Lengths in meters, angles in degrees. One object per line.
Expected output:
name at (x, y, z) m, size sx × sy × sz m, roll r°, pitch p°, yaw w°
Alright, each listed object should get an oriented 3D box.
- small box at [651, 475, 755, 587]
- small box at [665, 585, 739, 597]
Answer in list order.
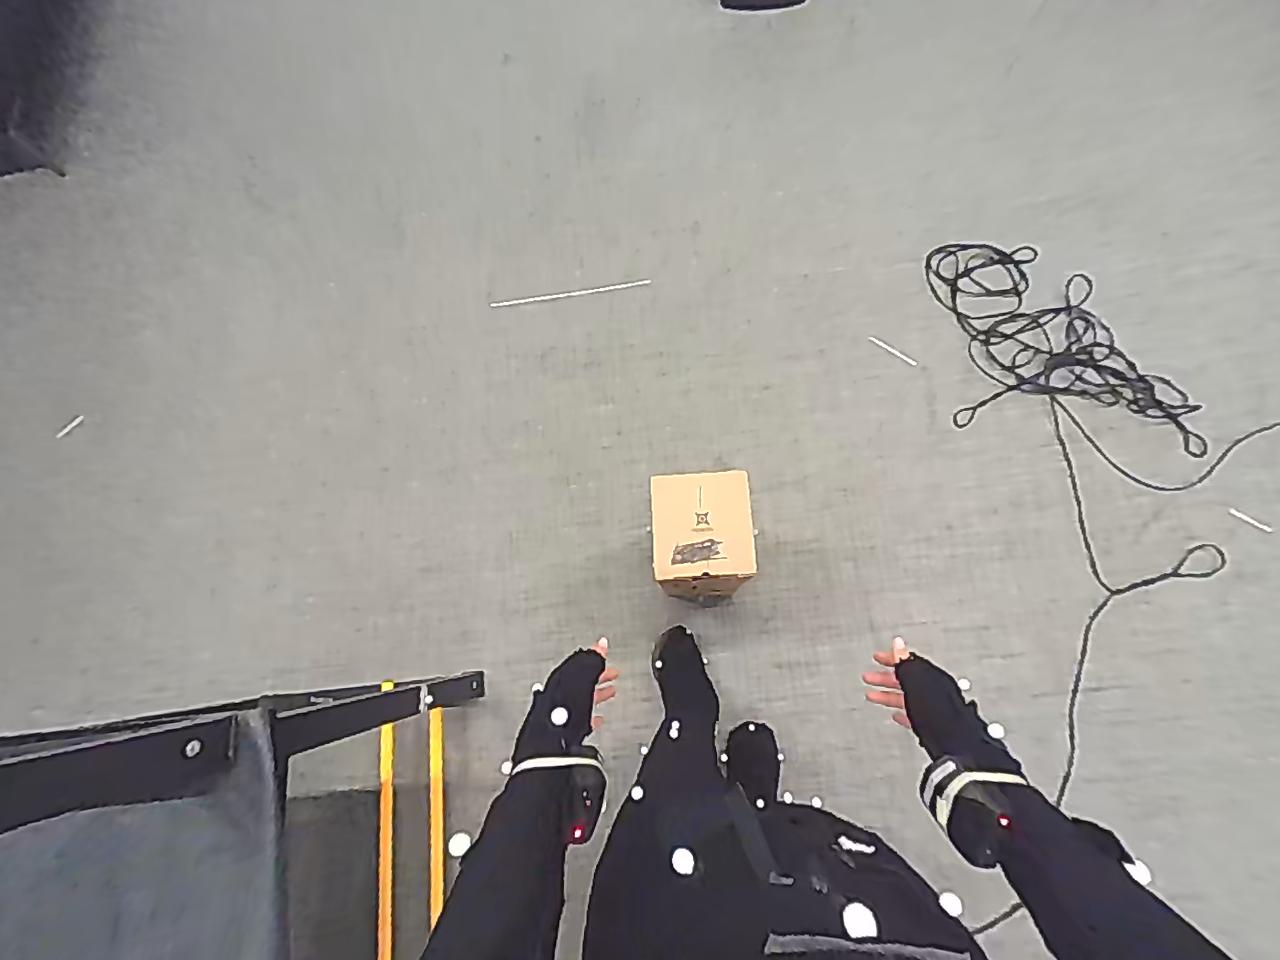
small box at (0.110, 0.099, 0.970) m, size 0.168 × 0.176 × 0.179 m, roll -3°, pitch 74°, yaw 4°
small box at (0.144, 0.184, 1.283) m, size 0.168 × 0.176 × 0.179 m, roll -2°, pitch 75°, yaw 6°
